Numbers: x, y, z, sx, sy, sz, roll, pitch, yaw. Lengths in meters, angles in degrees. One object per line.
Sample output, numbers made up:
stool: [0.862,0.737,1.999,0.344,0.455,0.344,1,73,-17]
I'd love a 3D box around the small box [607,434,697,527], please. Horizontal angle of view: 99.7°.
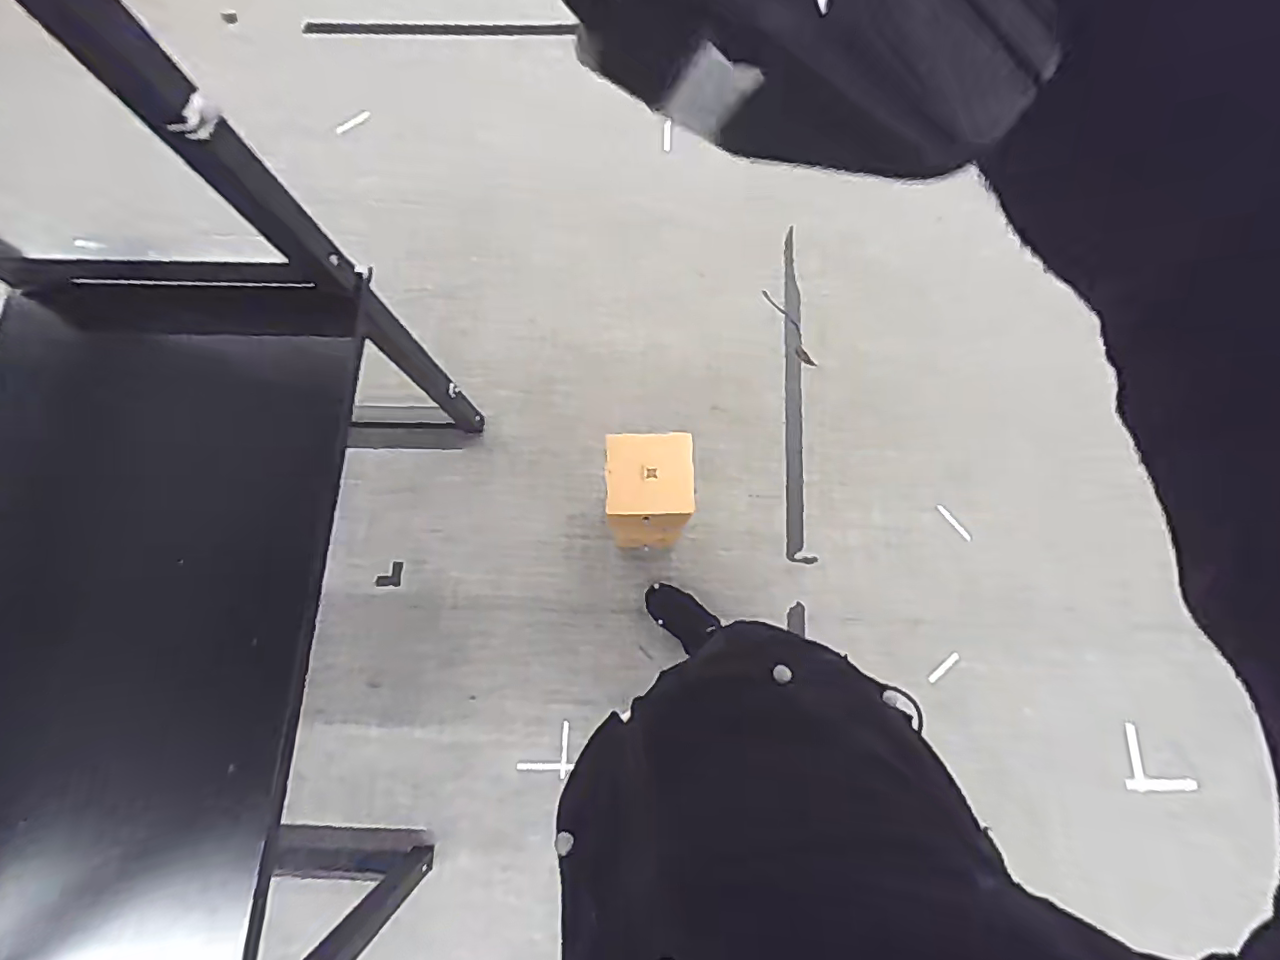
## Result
small box: [0.022,0.006,1.138,0.179,0.176,0.168,-2,77,1]

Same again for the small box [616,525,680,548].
small box: [0.021,0.086,1.456,0.168,0.176,0.179,0,77,1]
